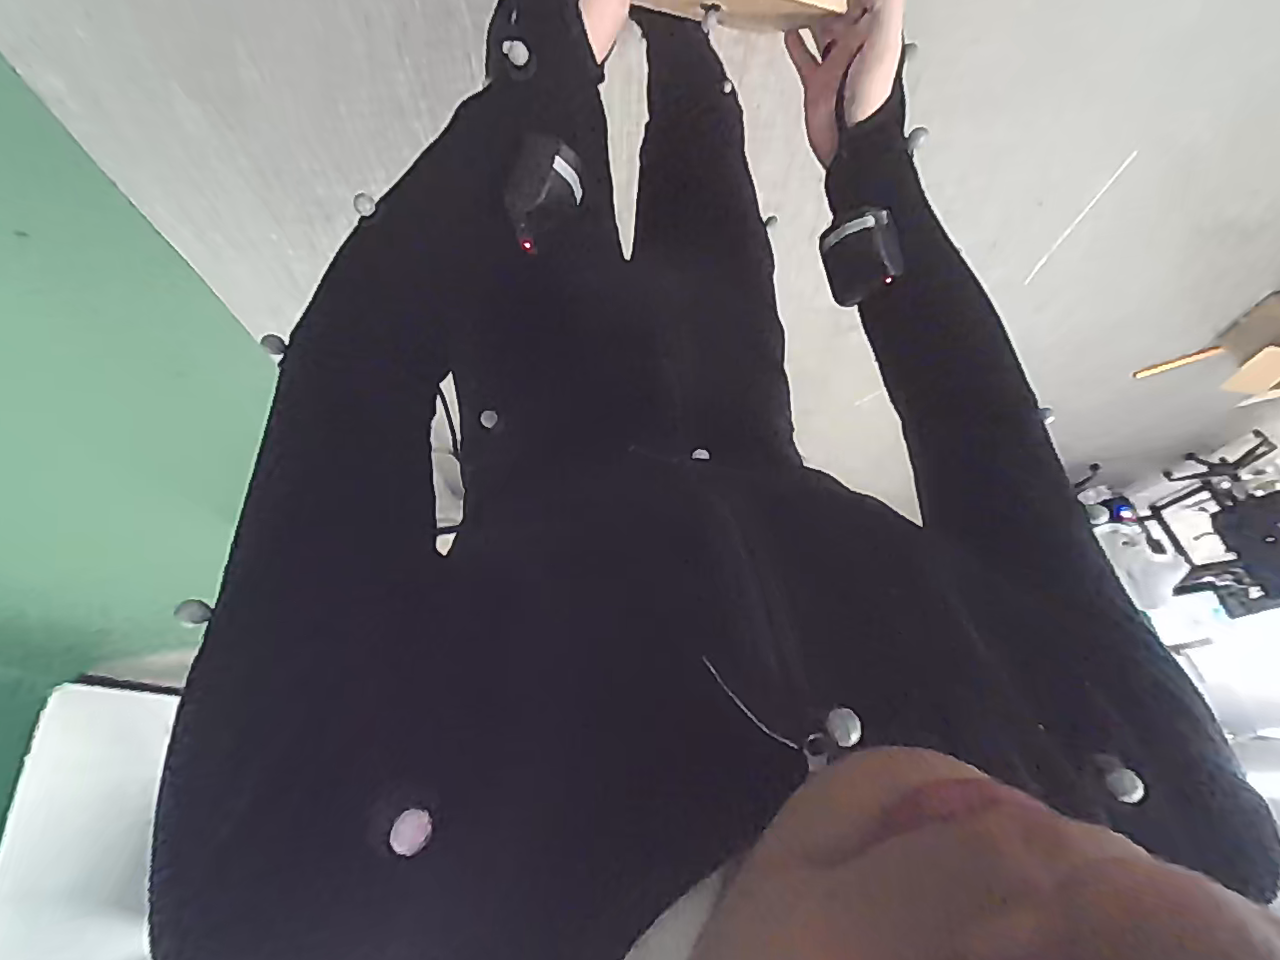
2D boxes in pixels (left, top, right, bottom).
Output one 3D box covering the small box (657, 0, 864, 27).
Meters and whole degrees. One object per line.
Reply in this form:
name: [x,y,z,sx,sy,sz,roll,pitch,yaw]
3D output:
small box: [0.081,-0.464,0.399,0.168,0.176,0.179,-2,124,-17]
